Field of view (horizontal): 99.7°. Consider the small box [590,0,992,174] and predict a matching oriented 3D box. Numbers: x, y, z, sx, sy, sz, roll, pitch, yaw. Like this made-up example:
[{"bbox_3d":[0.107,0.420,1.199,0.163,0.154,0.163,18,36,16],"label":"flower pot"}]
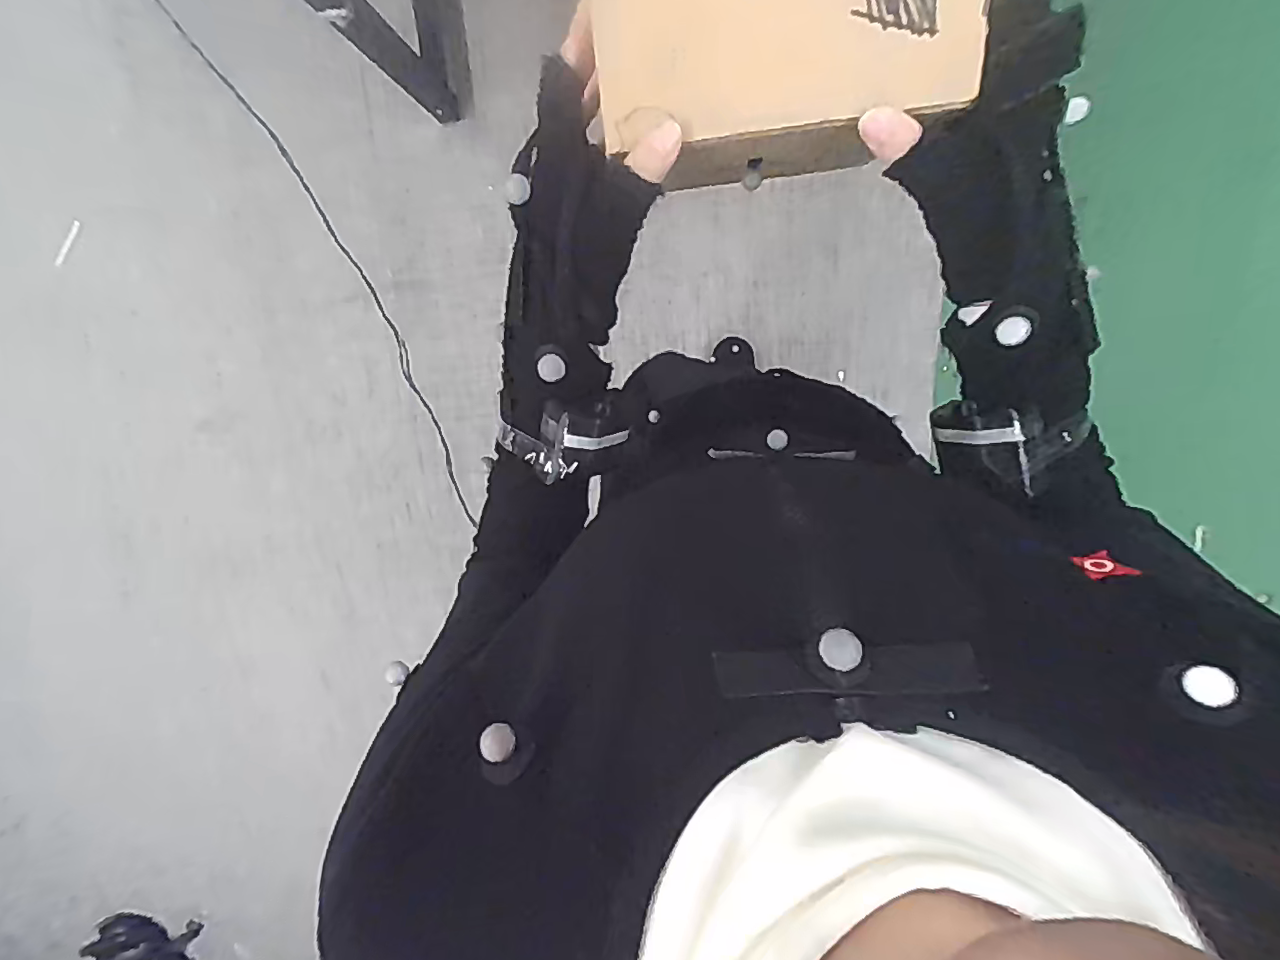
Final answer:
[{"bbox_3d":[0.065,-0.278,0.294,0.179,0.176,0.168,-5,112,7],"label":"small box"}]
